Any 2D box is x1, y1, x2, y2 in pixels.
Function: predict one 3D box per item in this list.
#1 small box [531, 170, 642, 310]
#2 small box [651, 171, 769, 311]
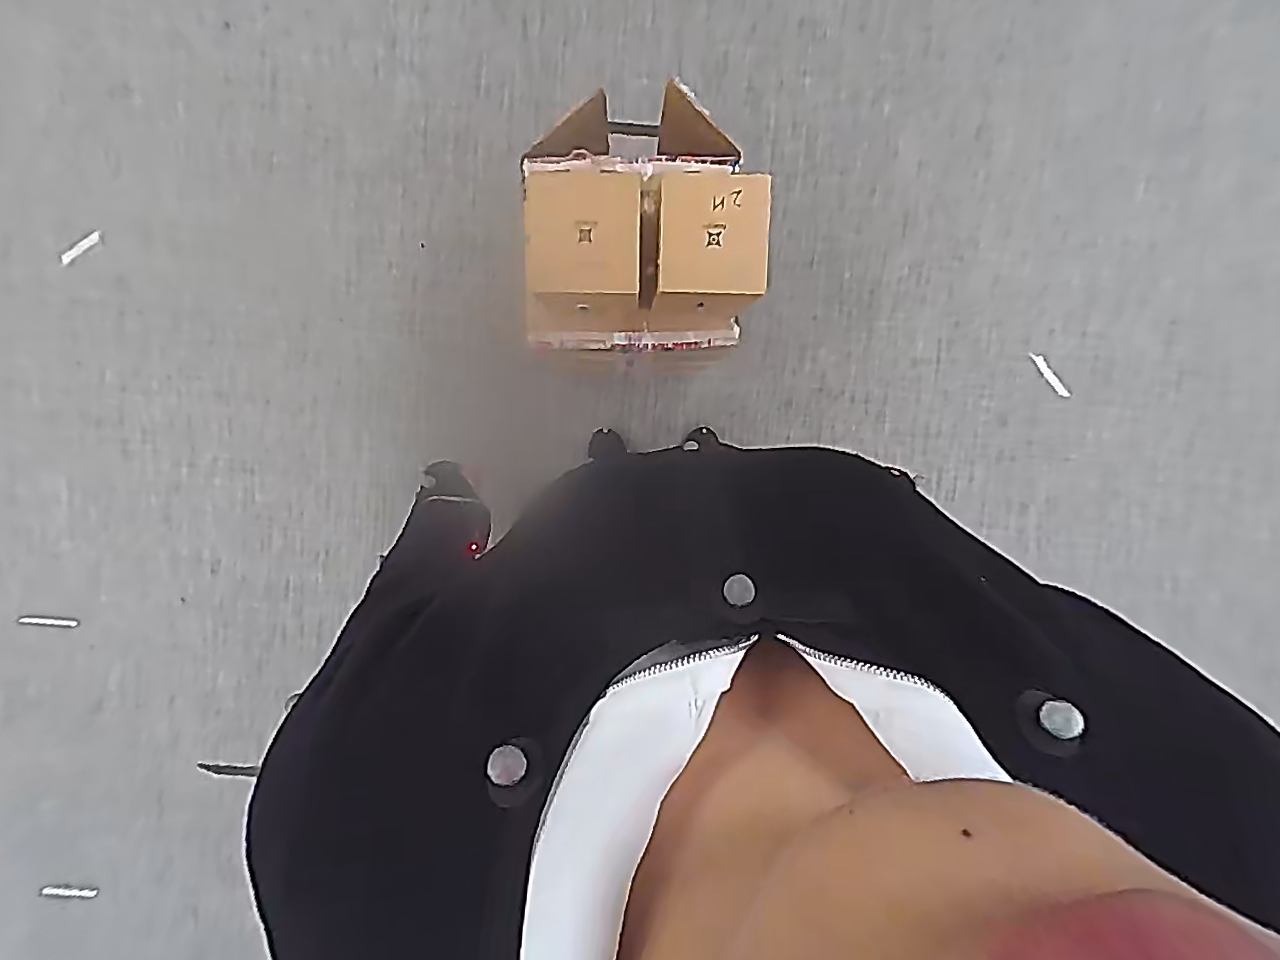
[{"bbox_3d":[-0.081,-0.383,0.887,0.168,0.176,0.179,0,99,0],"label":"small box"},{"bbox_3d":[0.107,-0.380,0.891,0.168,0.176,0.179,0,97,-3],"label":"small box"}]
